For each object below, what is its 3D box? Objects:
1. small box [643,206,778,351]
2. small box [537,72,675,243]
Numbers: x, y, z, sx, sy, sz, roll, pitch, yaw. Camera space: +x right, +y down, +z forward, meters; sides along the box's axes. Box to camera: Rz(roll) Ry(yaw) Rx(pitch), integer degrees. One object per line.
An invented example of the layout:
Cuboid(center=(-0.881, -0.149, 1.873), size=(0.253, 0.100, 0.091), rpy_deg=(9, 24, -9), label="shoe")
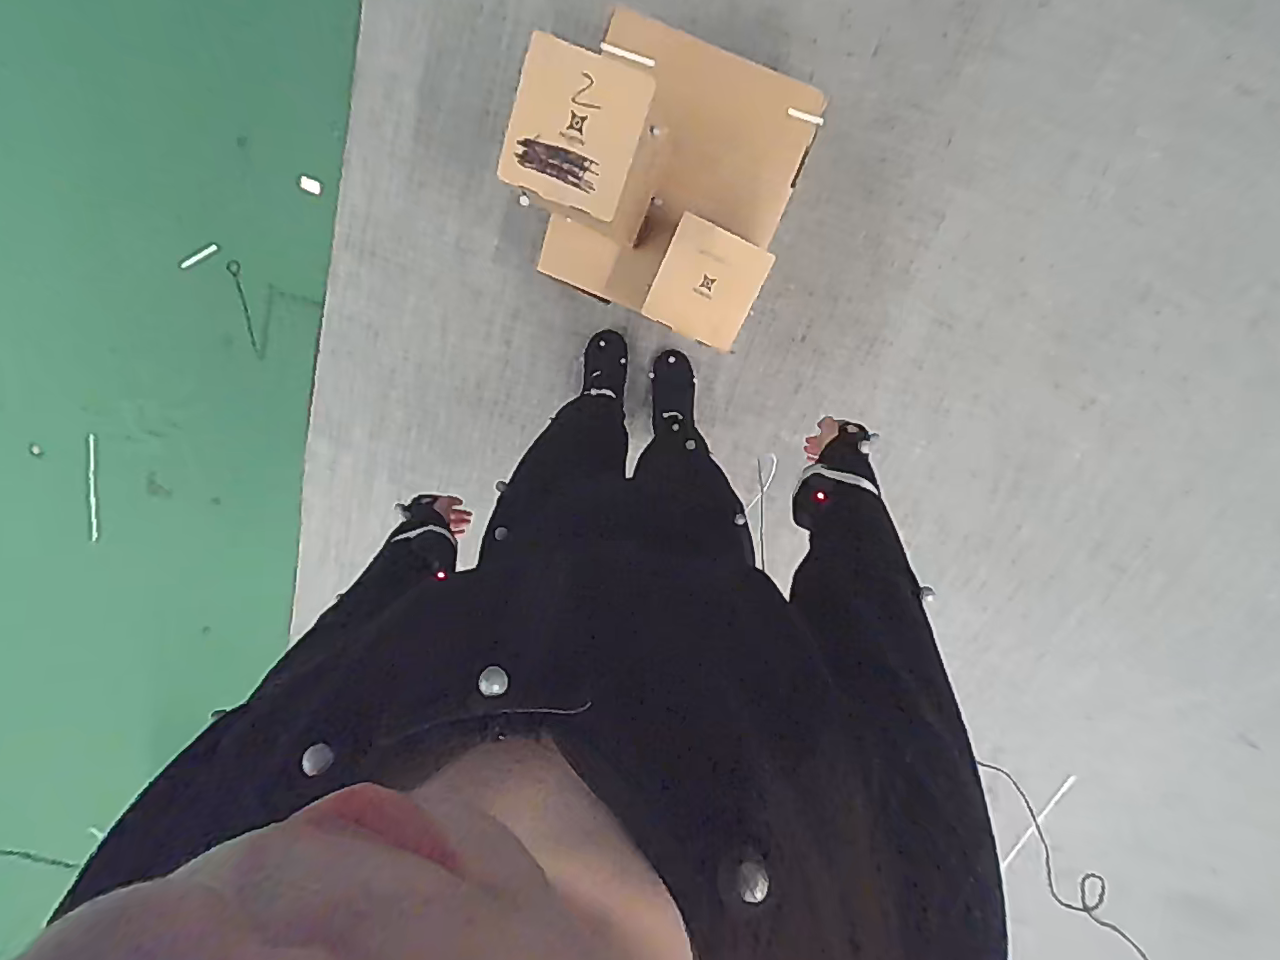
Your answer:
Cuboid(center=(0.118, -0.348, 0.954), size=(0.168, 0.176, 0.179), rpy_deg=(25, 108, -5), label="small box")
Cuboid(center=(-0.050, -0.525, 0.911), size=(0.168, 0.176, 0.179), rpy_deg=(25, 108, -2), label="small box")
